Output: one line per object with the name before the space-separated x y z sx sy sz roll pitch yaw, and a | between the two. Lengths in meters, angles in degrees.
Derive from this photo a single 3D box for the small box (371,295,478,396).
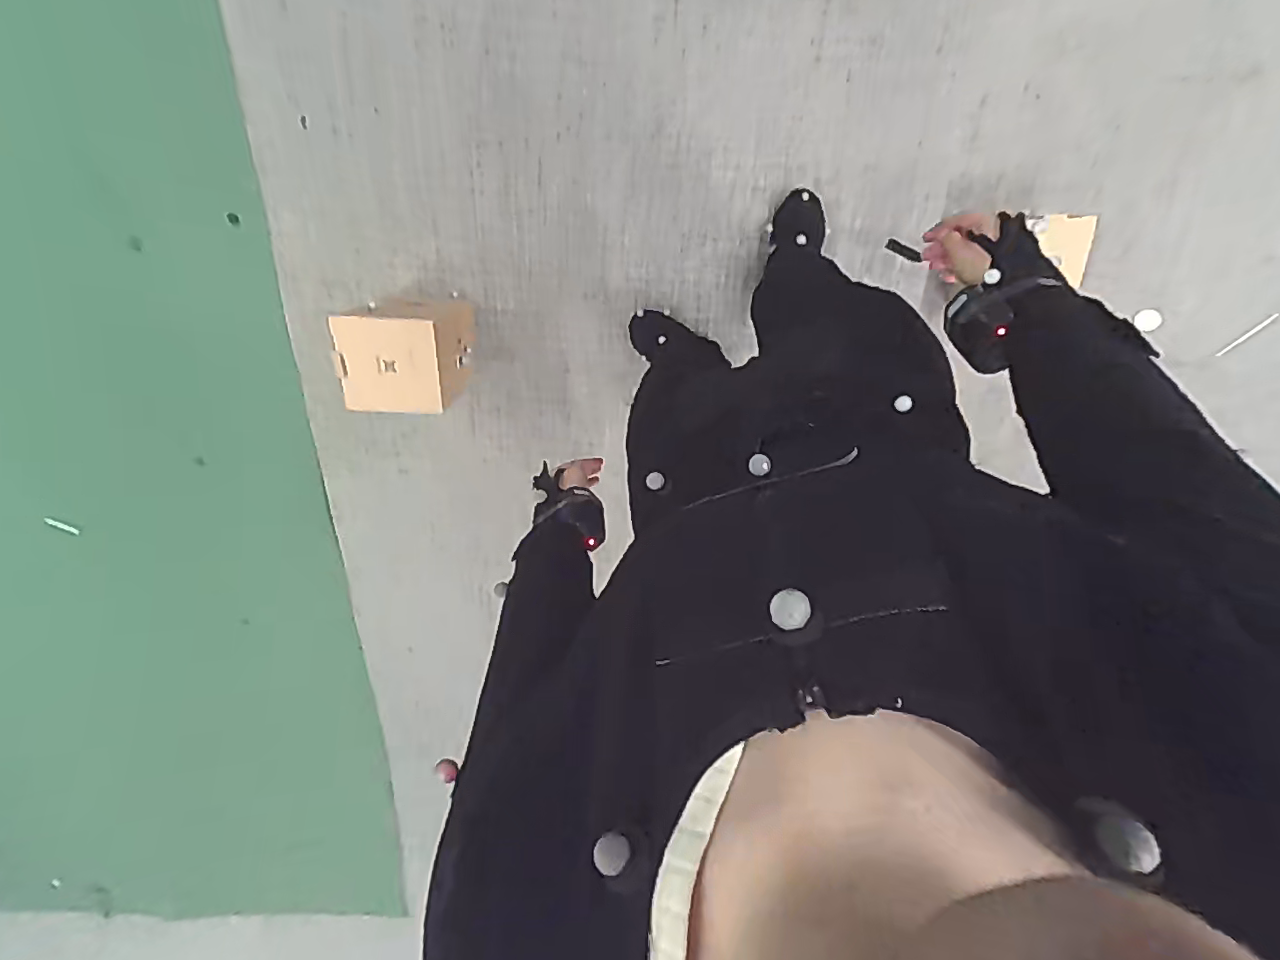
small box | -0.449 -0.291 1.152 0.168 0.176 0.179 4 115 -3

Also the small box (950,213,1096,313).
small box | 0.773 -0.445 1.114 0.168 0.176 0.179 -3 113 0

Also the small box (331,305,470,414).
small box | -0.431 -0.228 1.003 0.179 0.176 0.168 1 115 -2
